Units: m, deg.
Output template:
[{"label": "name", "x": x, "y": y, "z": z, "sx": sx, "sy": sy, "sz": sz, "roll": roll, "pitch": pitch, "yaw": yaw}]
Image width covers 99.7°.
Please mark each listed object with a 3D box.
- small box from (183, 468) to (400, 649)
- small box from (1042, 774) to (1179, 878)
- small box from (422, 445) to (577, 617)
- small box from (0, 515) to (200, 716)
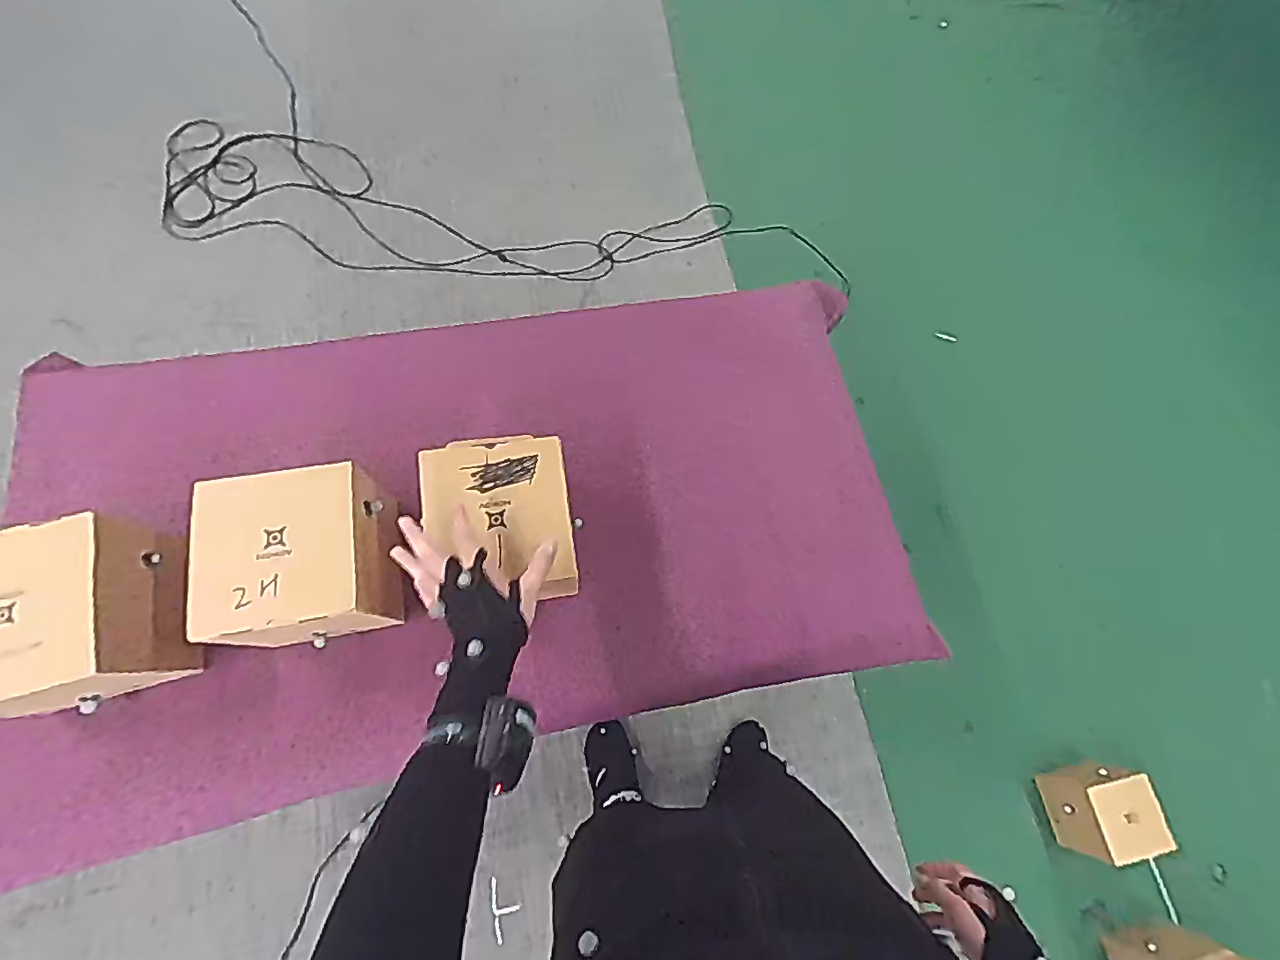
[{"label": "small box", "x": -0.404, "y": 0.102, "z": 0.658, "sx": 0.168, "sy": 0.176, "sz": 0.179, "roll": -8, "pitch": 73, "yaw": -9}, {"label": "small box", "x": 1.151, "y": 0.850, "z": 1.345, "sx": 0.179, "sy": 0.176, "sz": 0.168, "roll": -8, "pitch": 72, "yaw": -10}, {"label": "small box", "x": -0.173, "y": 0.071, "z": 0.695, "sx": 0.168, "sy": 0.176, "sz": 0.179, "roll": -7, "pitch": 73, "yaw": -8}, {"label": "small box", "x": -0.643, "y": 0.159, "z": 0.613, "sx": 0.168, "sy": 0.176, "sz": 0.179, "roll": -14, "pitch": 74, "yaw": -10}]
